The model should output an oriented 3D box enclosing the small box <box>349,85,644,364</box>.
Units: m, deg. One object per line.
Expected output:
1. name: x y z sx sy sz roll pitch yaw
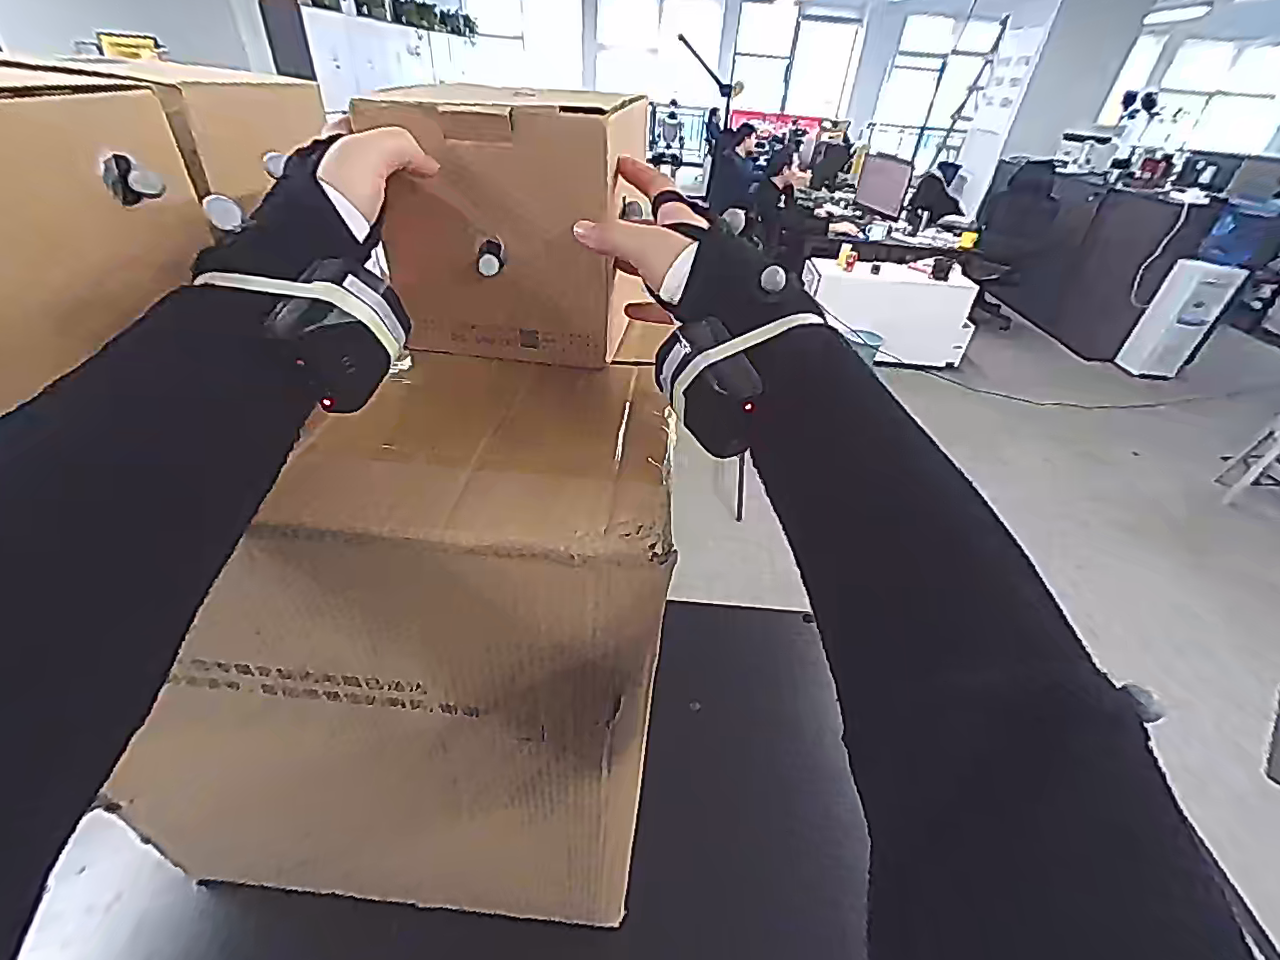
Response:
1. small box: -0.091 -0.209 0.440 0.168 0.176 0.179 7 39 5
